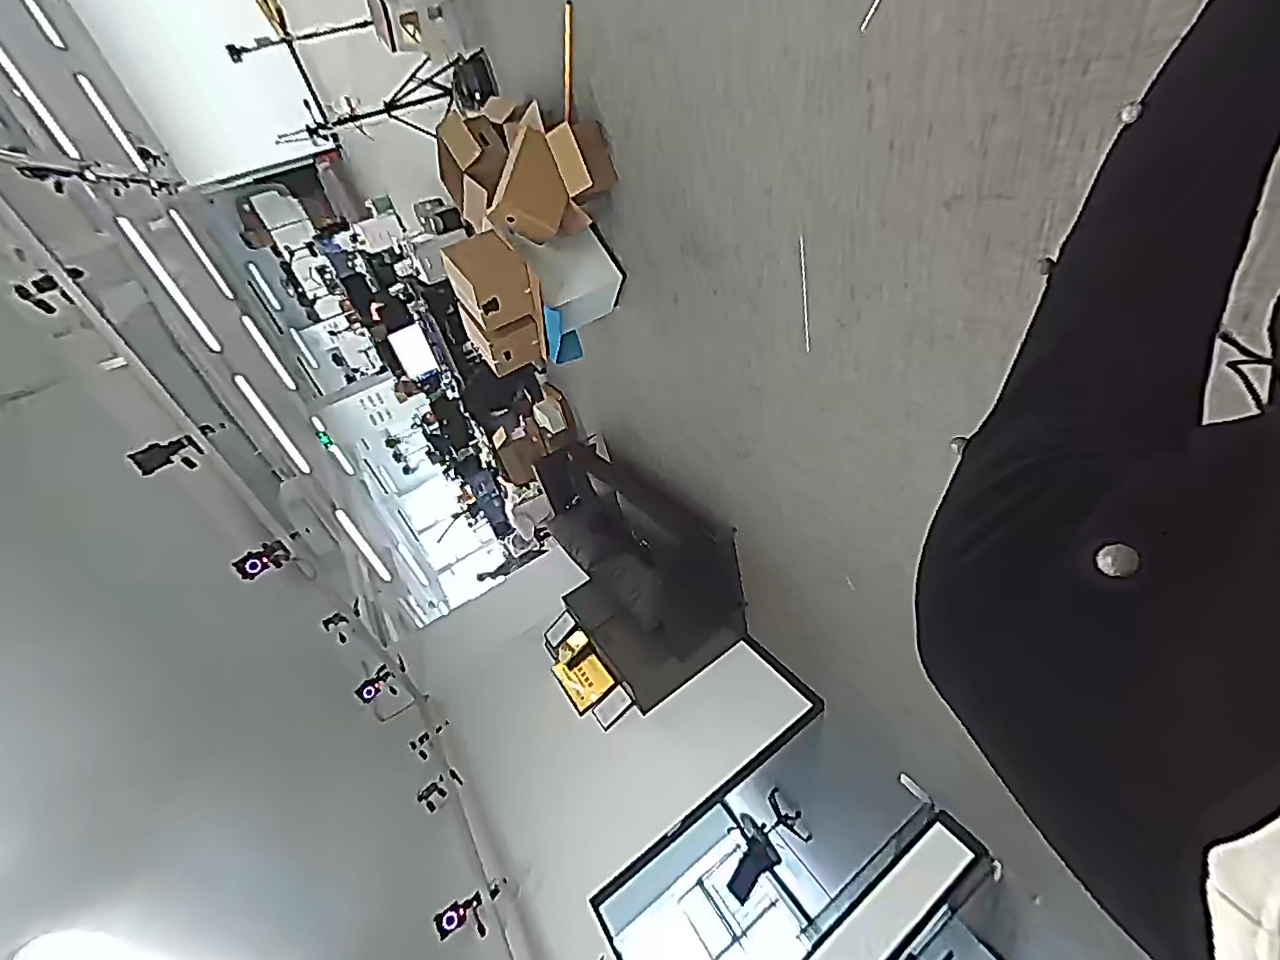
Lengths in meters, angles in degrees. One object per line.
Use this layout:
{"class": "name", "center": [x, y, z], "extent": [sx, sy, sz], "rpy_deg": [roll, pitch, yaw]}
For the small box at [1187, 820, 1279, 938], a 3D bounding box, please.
{"class": "small box", "center": [1.657, 1.077, 1.467], "extent": [0.168, 0.176, 0.179], "rpy_deg": [35, 150, 48]}
